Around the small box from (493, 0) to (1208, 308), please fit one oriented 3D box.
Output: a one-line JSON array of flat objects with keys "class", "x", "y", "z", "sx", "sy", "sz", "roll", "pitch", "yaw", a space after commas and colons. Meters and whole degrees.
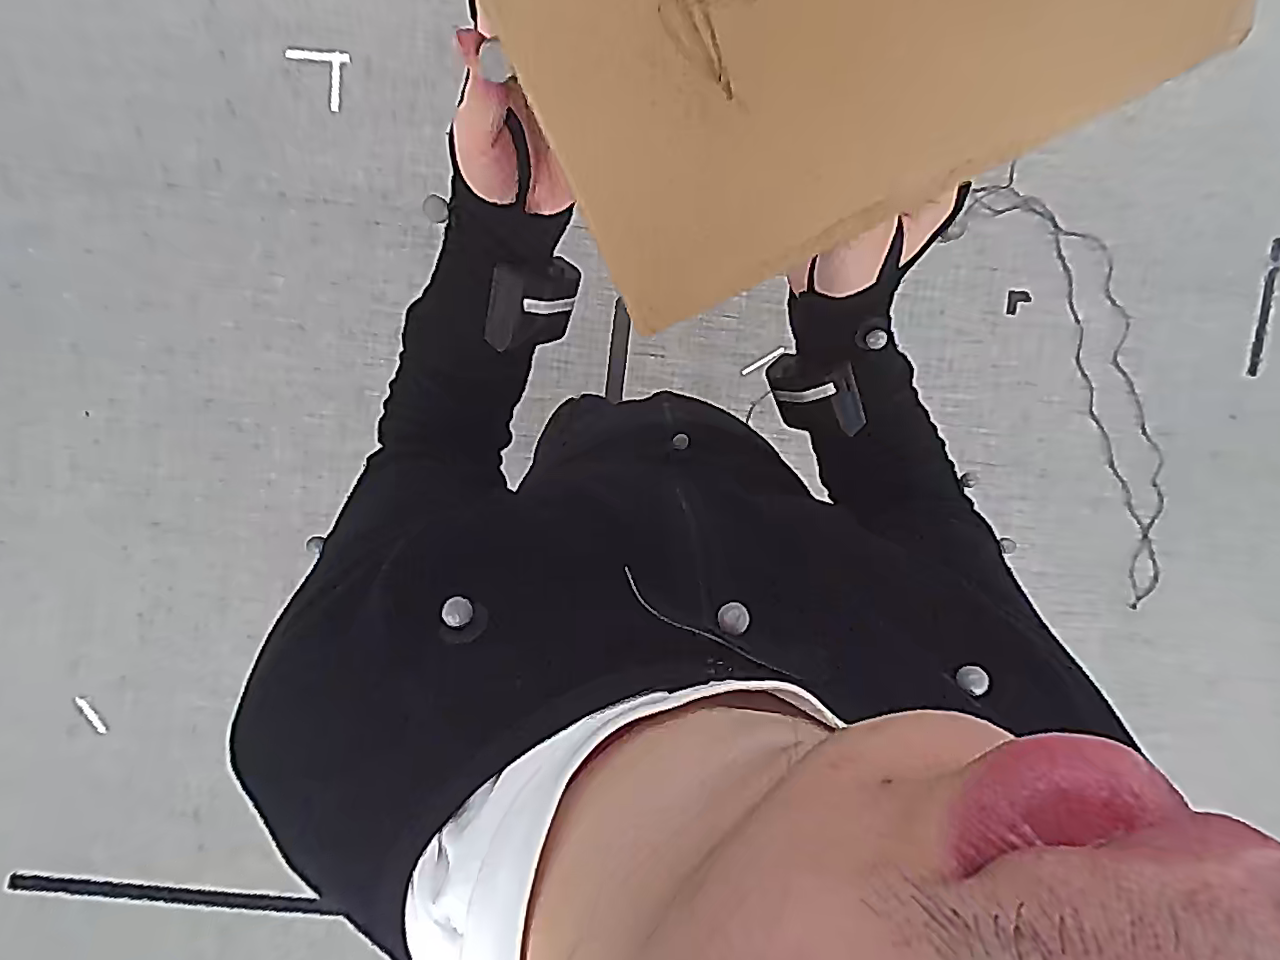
[{"class": "small box", "x": 0.037, "y": -0.190, "z": 0.193, "sx": 0.179, "sy": 0.176, "sz": 0.168, "roll": -25, "pitch": 118, "yaw": 8}]
